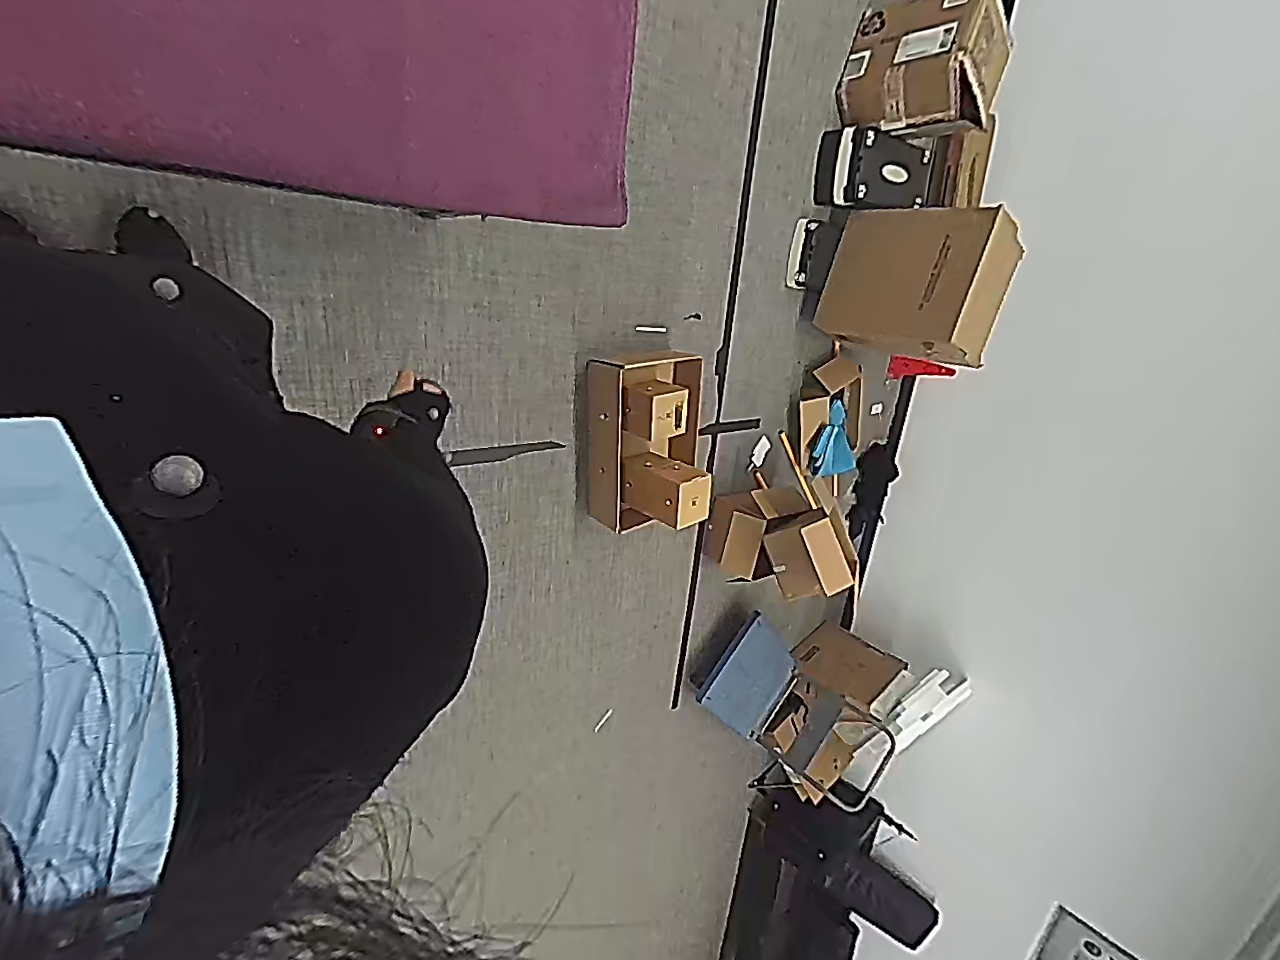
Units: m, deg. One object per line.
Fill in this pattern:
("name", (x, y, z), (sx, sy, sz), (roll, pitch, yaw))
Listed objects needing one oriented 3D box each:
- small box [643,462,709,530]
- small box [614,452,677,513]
("small box", (0.123, 0.052, 1.933), (0.168, 0.176, 0.179), (-16, 118, -39))
("small box", (0.015, 0.005, 2.046), (0.179, 0.176, 0.168), (-16, 119, -40))
